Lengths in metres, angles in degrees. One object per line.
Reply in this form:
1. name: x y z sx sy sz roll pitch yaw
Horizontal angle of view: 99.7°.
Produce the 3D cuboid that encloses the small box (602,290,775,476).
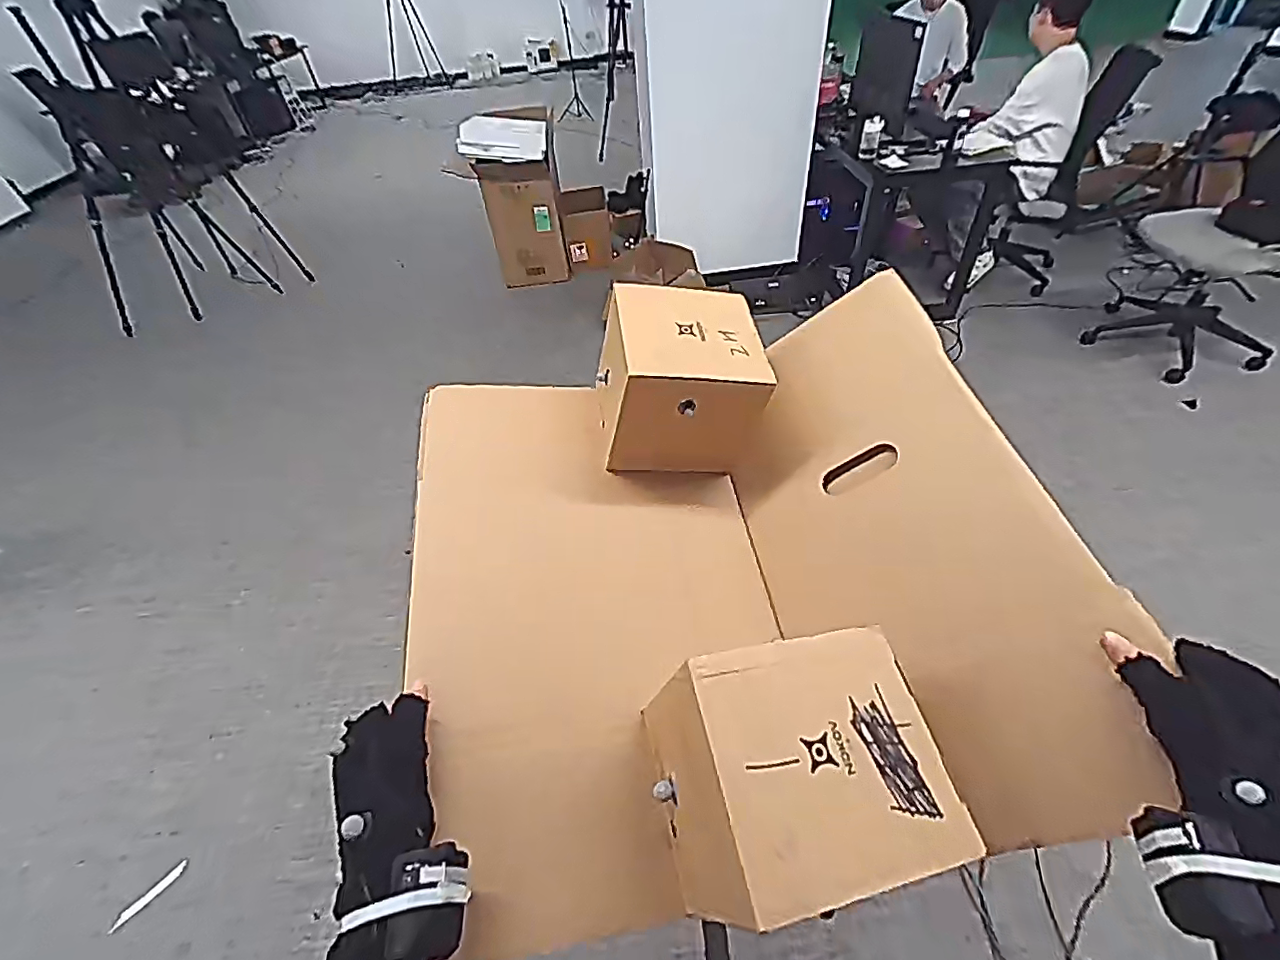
1. small box: 0.047 -0.119 0.700 0.179 0.176 0.168 2 54 -13
